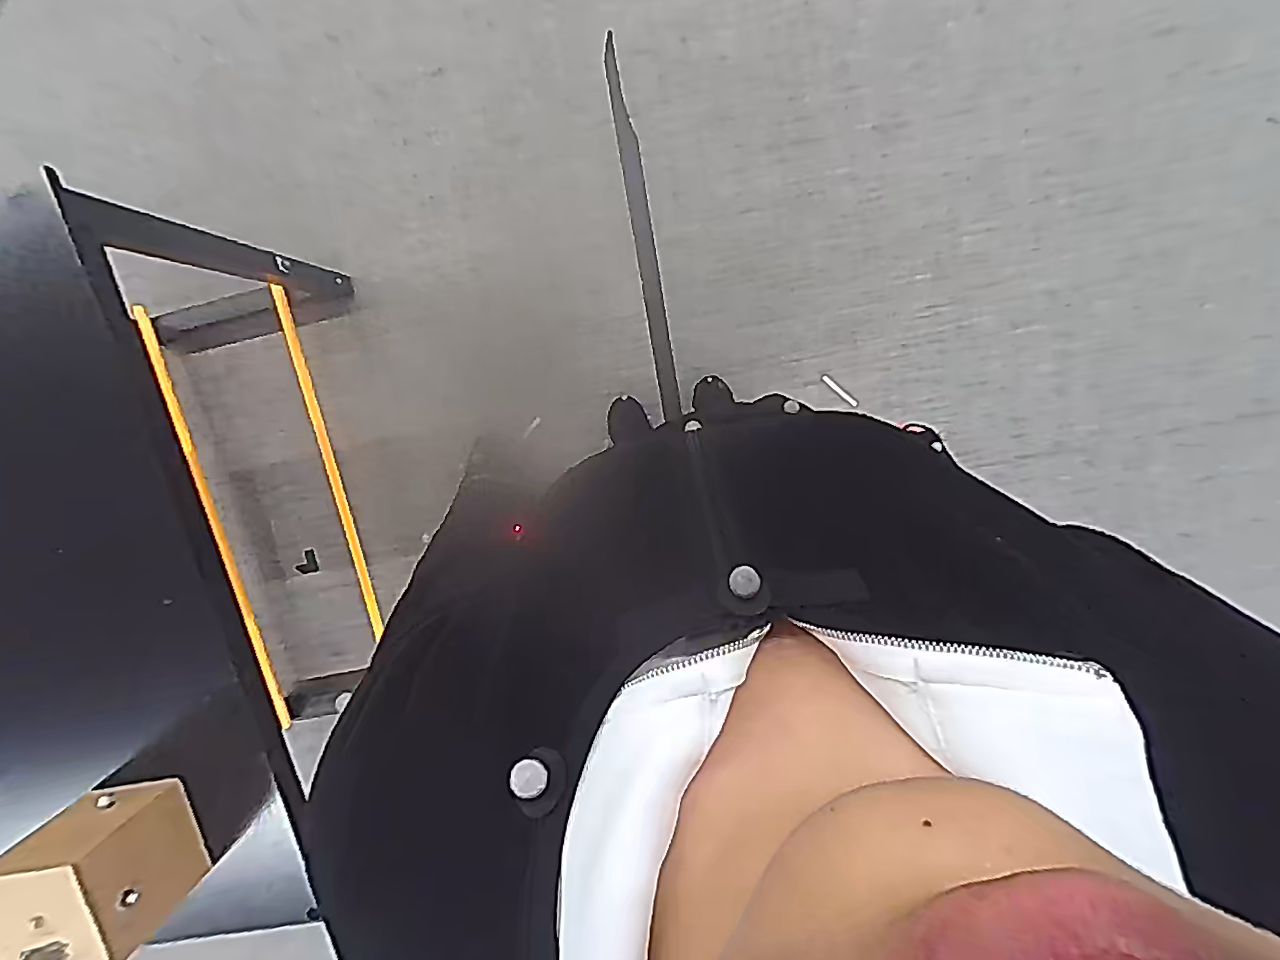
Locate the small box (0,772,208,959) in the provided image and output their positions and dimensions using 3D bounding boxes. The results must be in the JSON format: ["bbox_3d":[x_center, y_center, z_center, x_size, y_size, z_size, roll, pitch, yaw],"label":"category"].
[{"bbox_3d":[-0.815,0.586,0.823,0.168,0.176,0.179,-10,99,4],"label":"small box"}]
